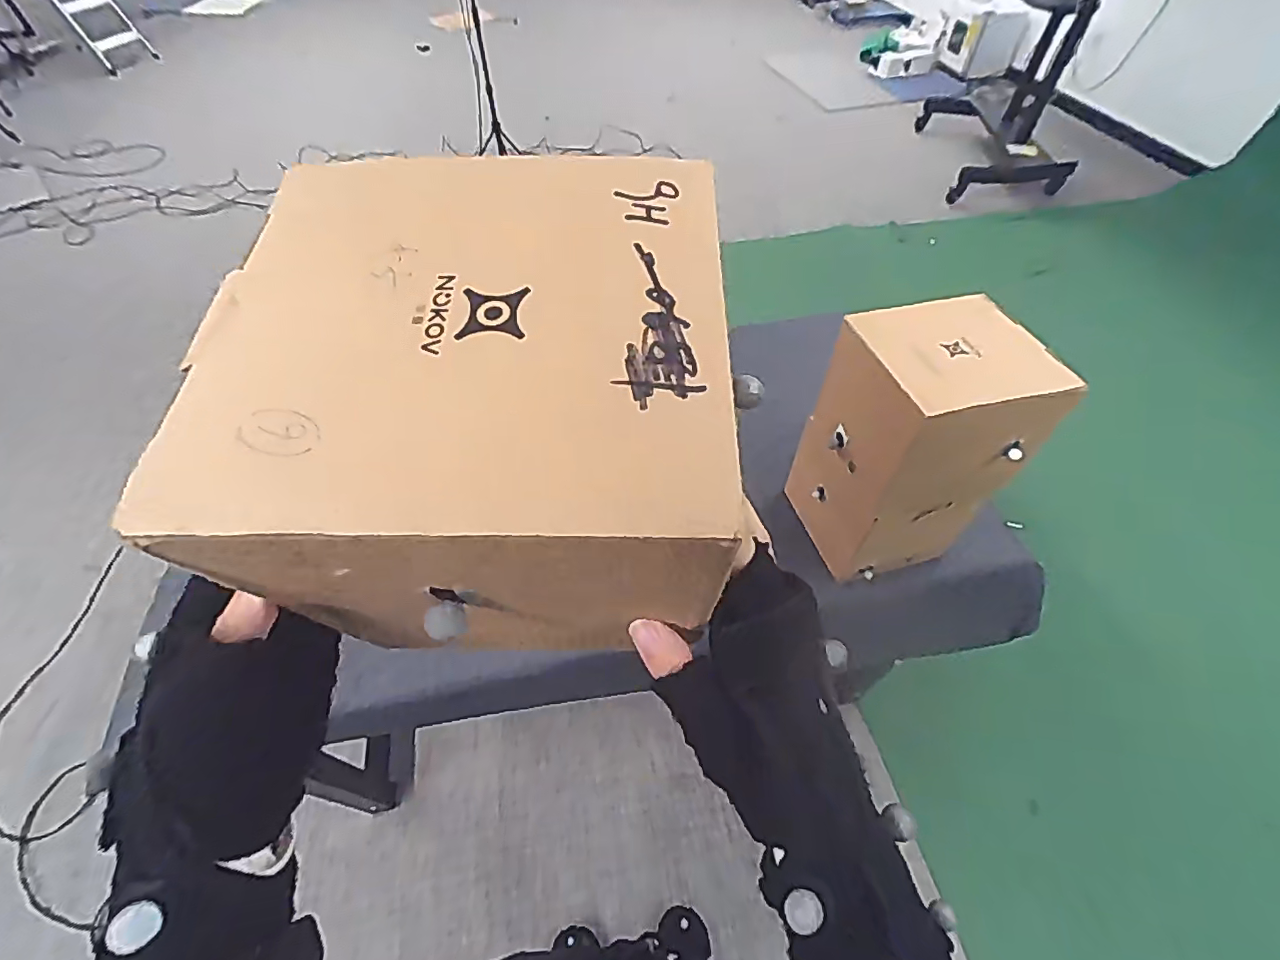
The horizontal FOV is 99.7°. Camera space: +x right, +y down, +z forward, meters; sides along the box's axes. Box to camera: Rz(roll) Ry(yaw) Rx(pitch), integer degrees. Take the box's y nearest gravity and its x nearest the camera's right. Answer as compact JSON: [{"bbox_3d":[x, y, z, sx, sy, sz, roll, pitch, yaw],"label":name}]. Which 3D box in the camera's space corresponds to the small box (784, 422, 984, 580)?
[{"bbox_3d":[0.324,0.023,0.760,0.168,0.176,0.179,-13,51,-10],"label":"small box"}]

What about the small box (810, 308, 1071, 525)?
[{"bbox_3d":[0.324,-0.071,0.629,0.179,0.176,0.168,-12,51,-7],"label":"small box"}]

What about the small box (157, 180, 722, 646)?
[{"bbox_3d":[-0.057,-0.017,0.268,0.179,0.176,0.168,0,62,2],"label":"small box"}]
